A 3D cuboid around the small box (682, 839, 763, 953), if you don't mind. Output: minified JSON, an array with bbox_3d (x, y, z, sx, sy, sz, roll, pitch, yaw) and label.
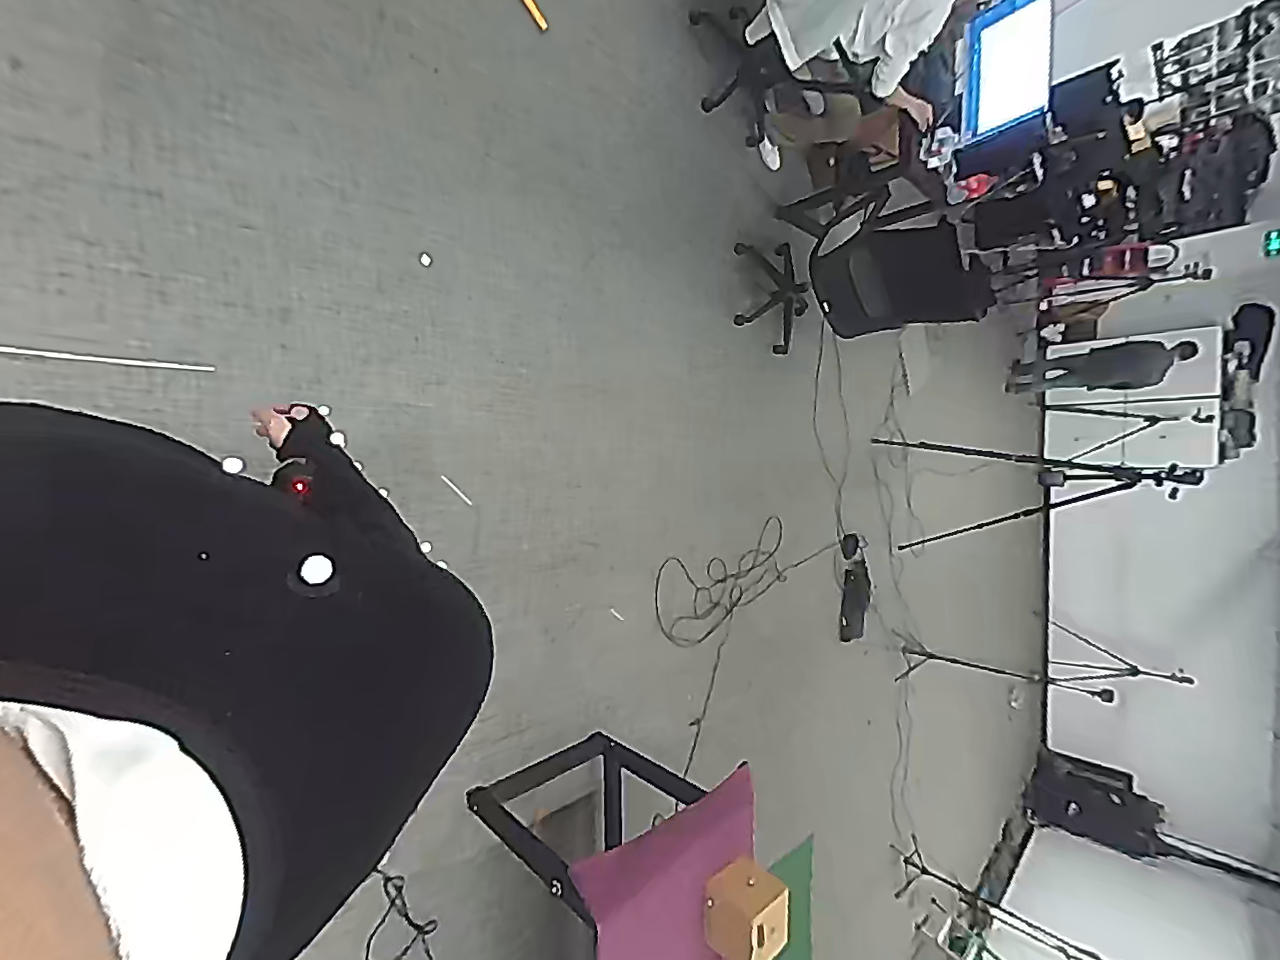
[{"bbox_3d":[0.239,1.205,1.581,0.179,0.176,0.168,0,93,-45],"label":"small box"}]
